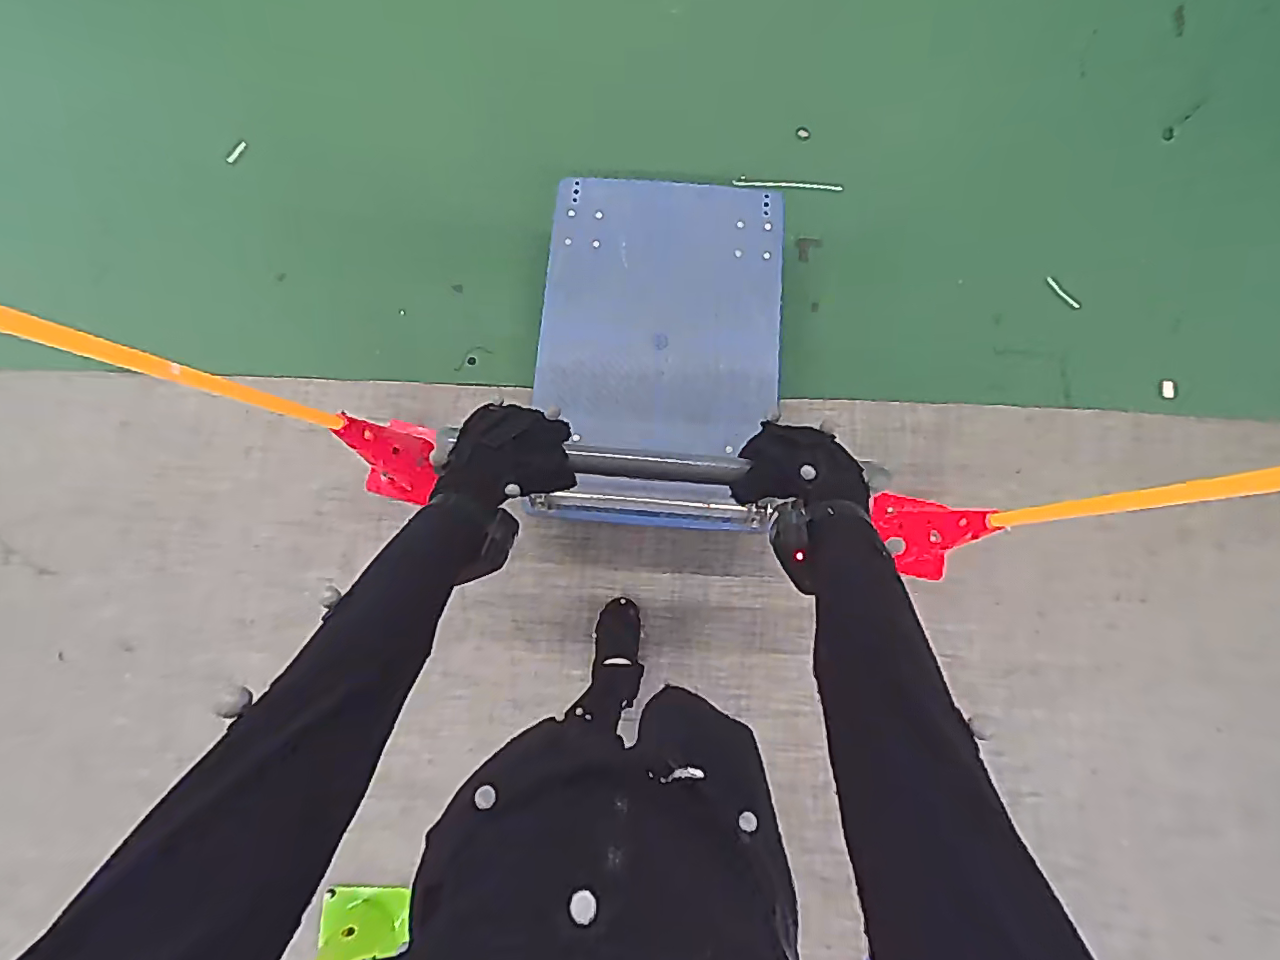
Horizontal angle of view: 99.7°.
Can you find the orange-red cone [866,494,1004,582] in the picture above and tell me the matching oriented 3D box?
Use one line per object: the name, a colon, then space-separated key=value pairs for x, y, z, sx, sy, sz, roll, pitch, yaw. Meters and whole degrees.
orange-red cone: x=0.683 y=0.113 z=1.209 sx=0.198 sy=0.360 sz=0.199 roll=14 pitch=80 yaw=3
